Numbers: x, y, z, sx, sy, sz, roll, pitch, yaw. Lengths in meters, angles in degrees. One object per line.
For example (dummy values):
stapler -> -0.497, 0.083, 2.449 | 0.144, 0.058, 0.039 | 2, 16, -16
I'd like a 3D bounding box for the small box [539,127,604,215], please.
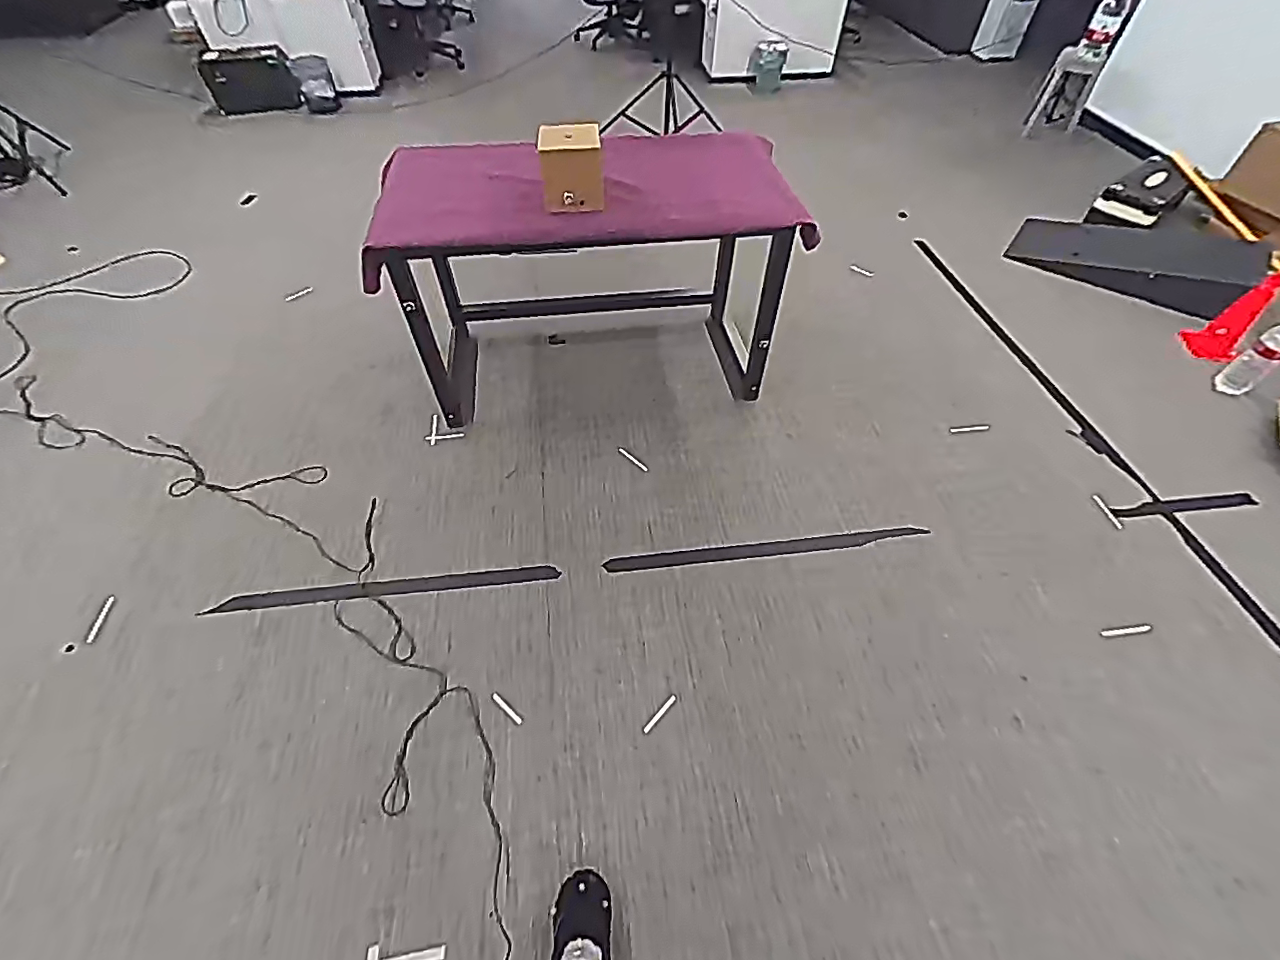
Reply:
small box -> -0.189, -0.870, 1.523 | 0.168, 0.176, 0.179 | -5, 52, -3
